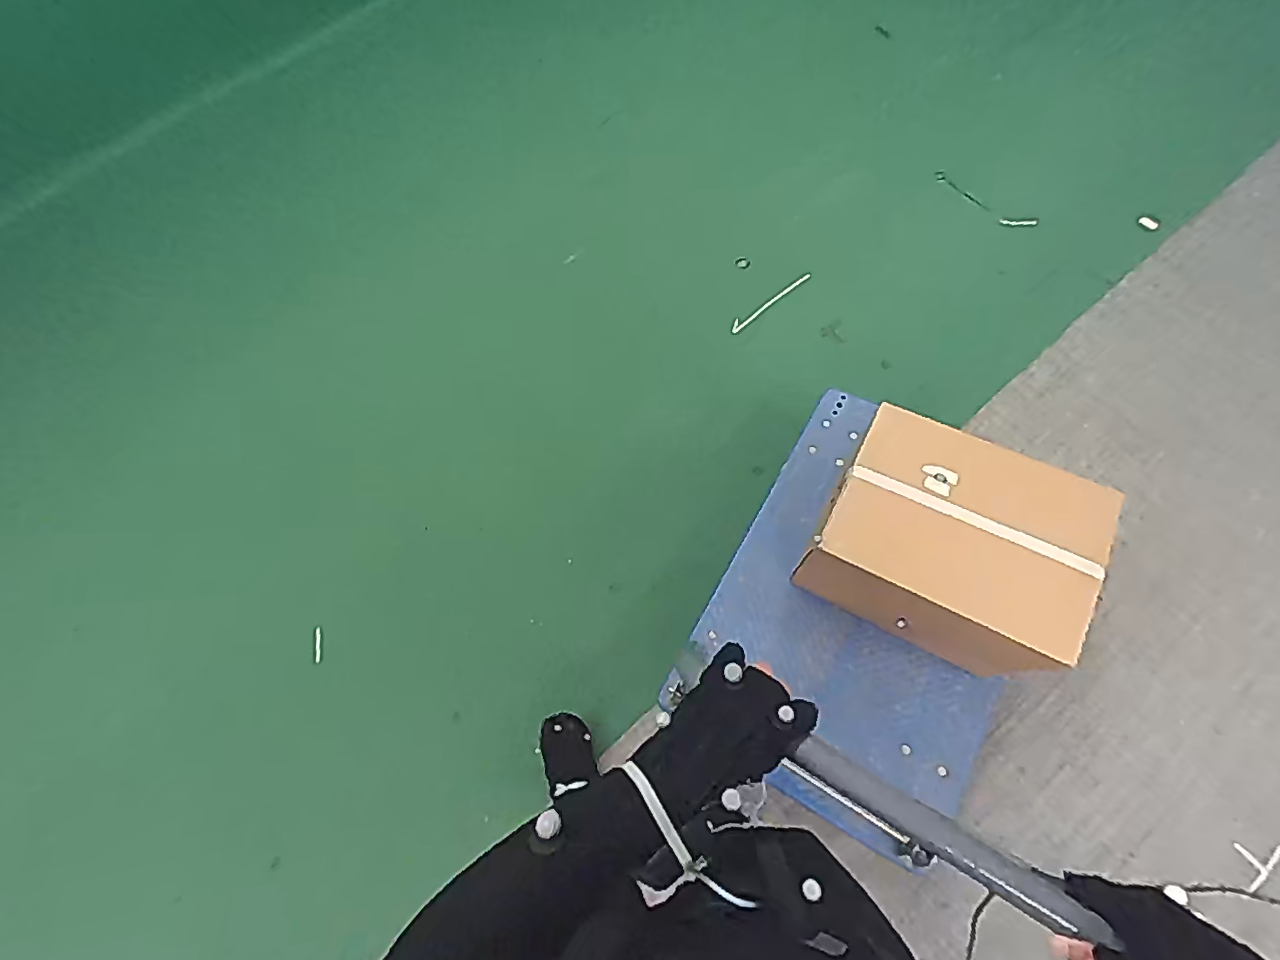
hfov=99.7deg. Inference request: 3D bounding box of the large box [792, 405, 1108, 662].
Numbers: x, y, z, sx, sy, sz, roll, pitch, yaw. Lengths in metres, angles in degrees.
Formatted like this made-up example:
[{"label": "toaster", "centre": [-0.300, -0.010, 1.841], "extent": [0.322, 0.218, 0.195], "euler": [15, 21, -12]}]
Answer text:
[{"label": "large box", "centre": [0.559, 0.117, 1.050], "extent": [0.408, 0.320, 0.320], "euler": [25, 73, 16]}]
